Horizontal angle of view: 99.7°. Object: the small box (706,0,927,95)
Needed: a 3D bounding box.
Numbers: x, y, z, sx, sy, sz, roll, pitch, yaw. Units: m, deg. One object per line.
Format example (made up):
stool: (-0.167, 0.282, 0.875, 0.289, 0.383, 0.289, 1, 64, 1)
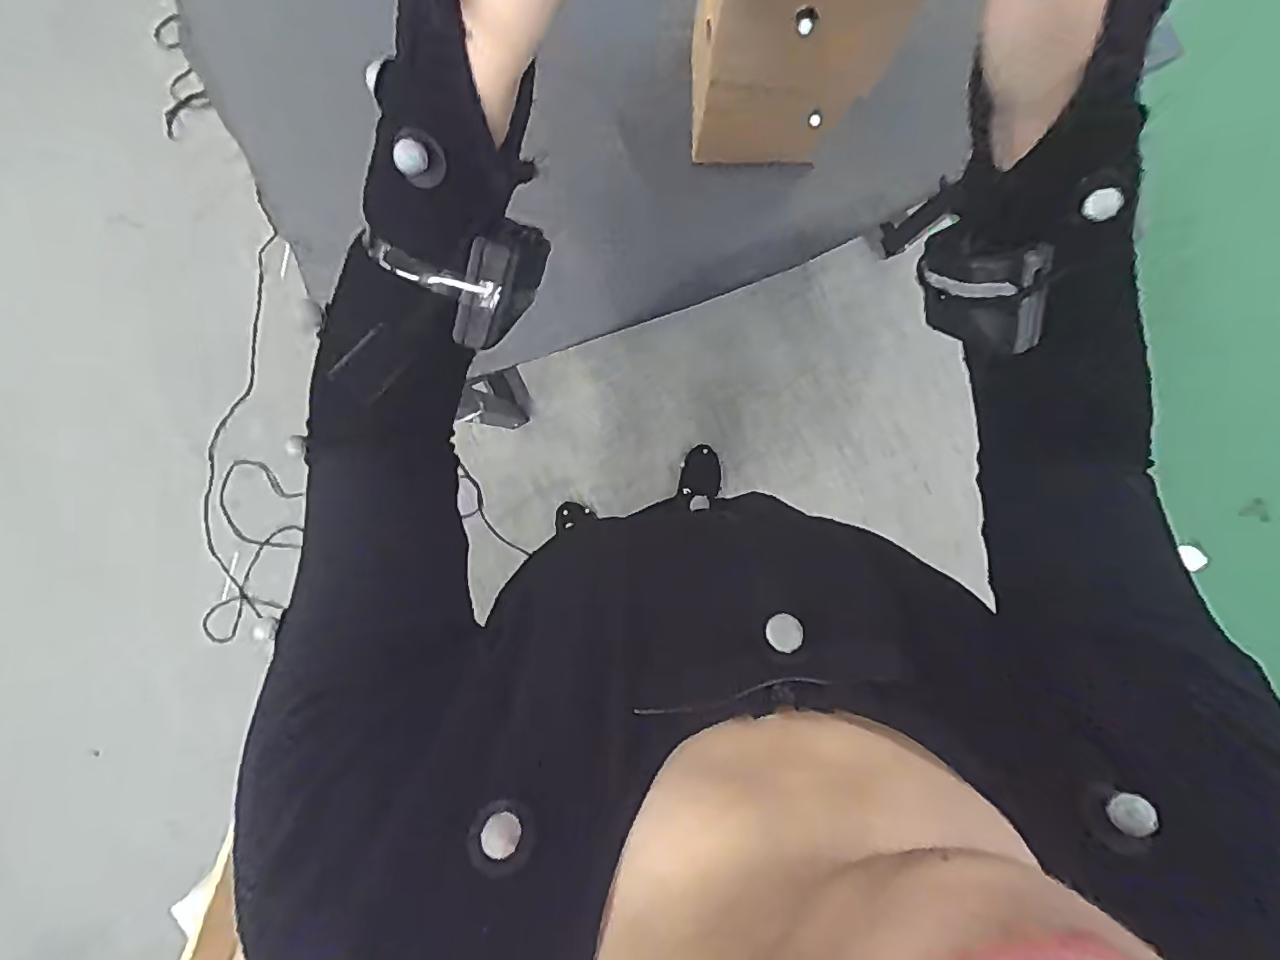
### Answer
small box: (0.165, -0.489, 0.488, 0.179, 0.176, 0.168, 7, 92, 0)
